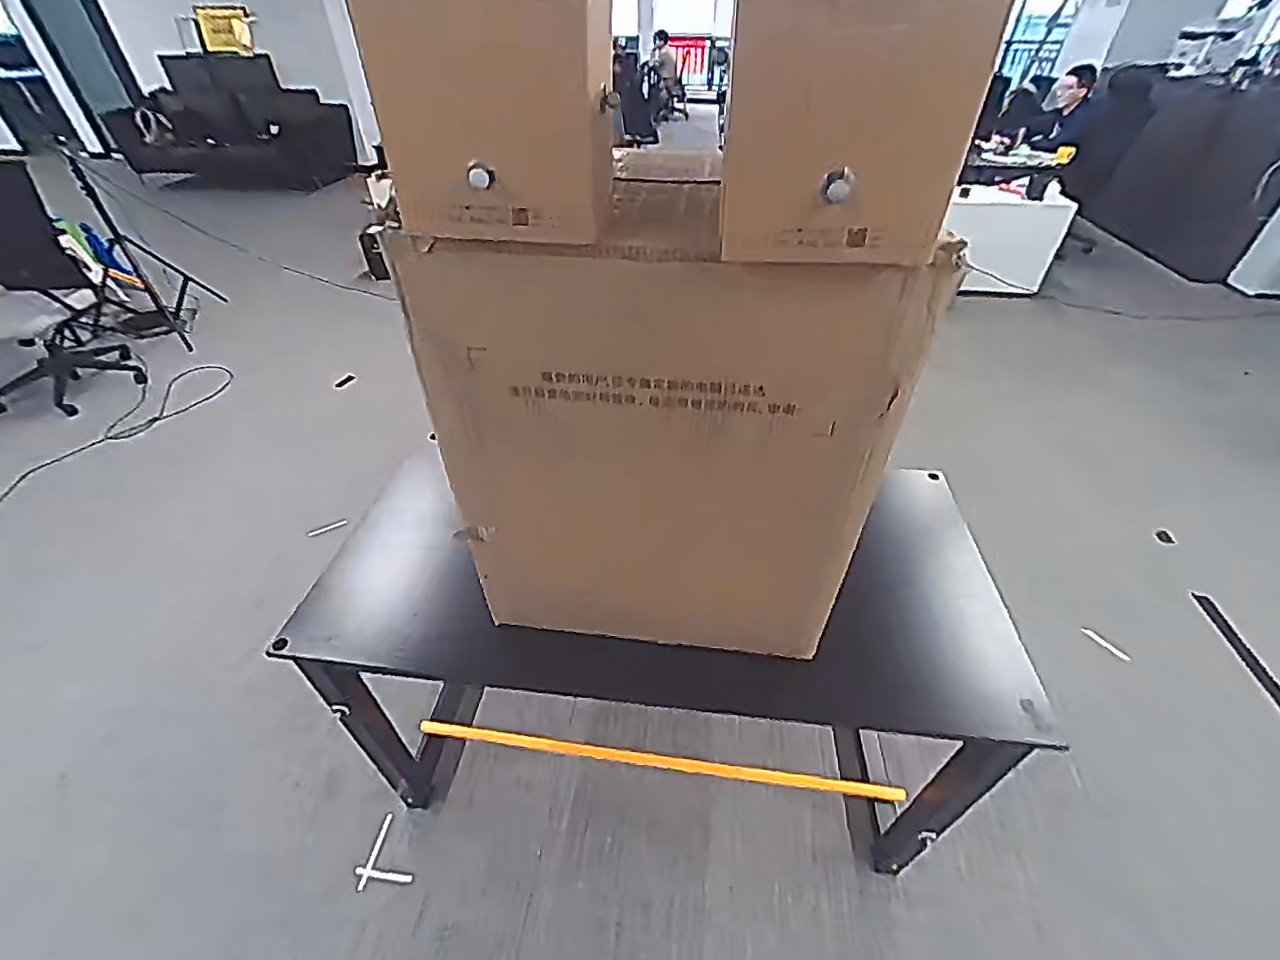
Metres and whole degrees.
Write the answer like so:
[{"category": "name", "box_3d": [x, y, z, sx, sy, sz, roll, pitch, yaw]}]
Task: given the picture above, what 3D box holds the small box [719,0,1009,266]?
[{"category": "small box", "box_3d": [0.153, -0.292, 0.444, 0.168, 0.176, 0.179, 3, 43, 6]}]
